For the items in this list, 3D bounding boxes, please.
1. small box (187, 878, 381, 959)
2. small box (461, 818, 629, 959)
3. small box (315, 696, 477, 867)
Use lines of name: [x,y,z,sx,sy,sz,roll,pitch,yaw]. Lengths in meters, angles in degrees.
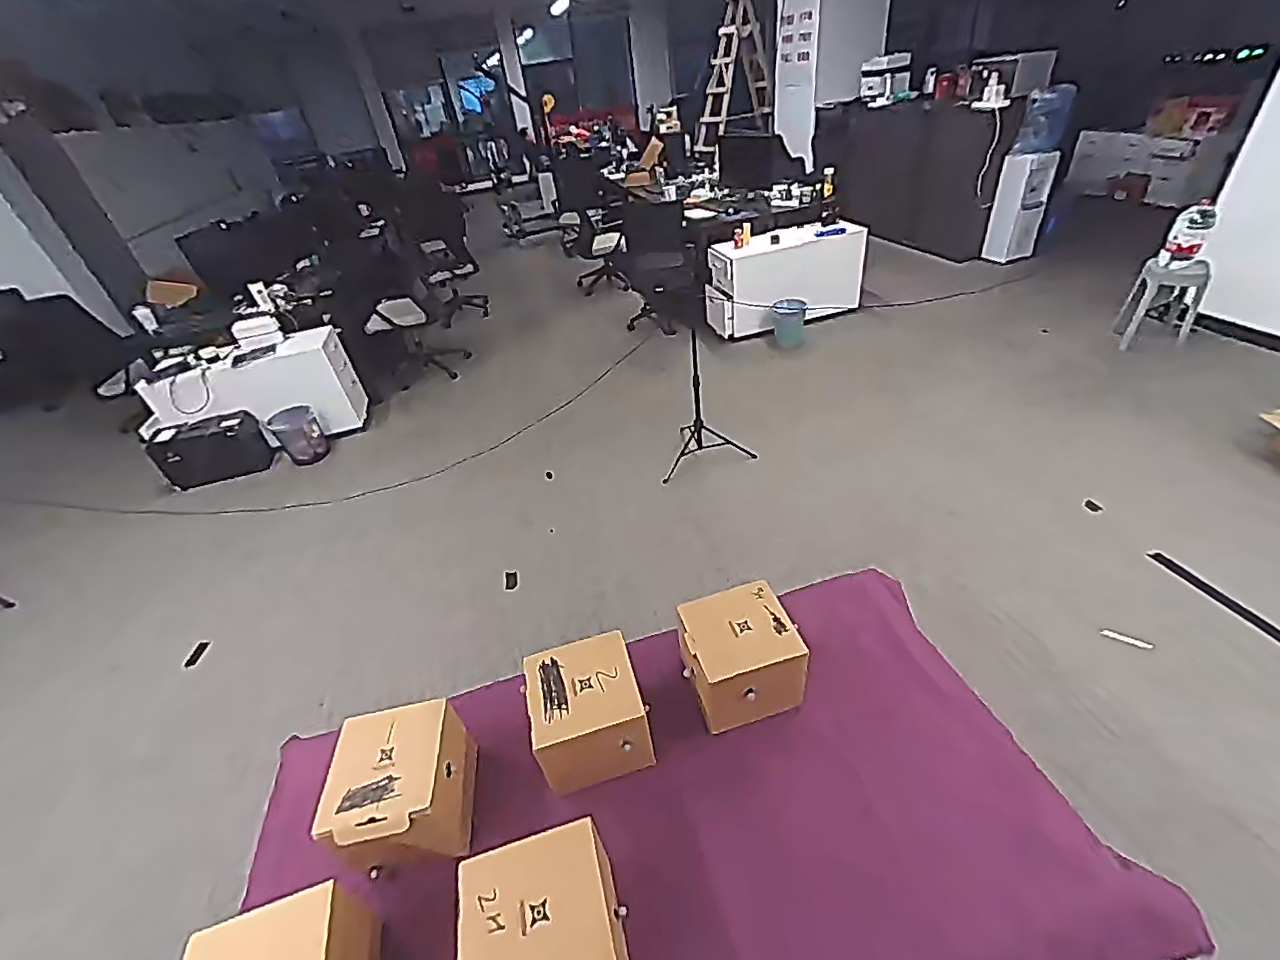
small box: [-0.427,0.636,0.651,0.168,0.176,0.179,-15,38,-12]
small box: [-0.113,0.568,0.679,0.179,0.176,0.168,-15,37,-8]
small box: [-0.365,0.477,0.850,0.168,0.176,0.179,-11,37,-4]
